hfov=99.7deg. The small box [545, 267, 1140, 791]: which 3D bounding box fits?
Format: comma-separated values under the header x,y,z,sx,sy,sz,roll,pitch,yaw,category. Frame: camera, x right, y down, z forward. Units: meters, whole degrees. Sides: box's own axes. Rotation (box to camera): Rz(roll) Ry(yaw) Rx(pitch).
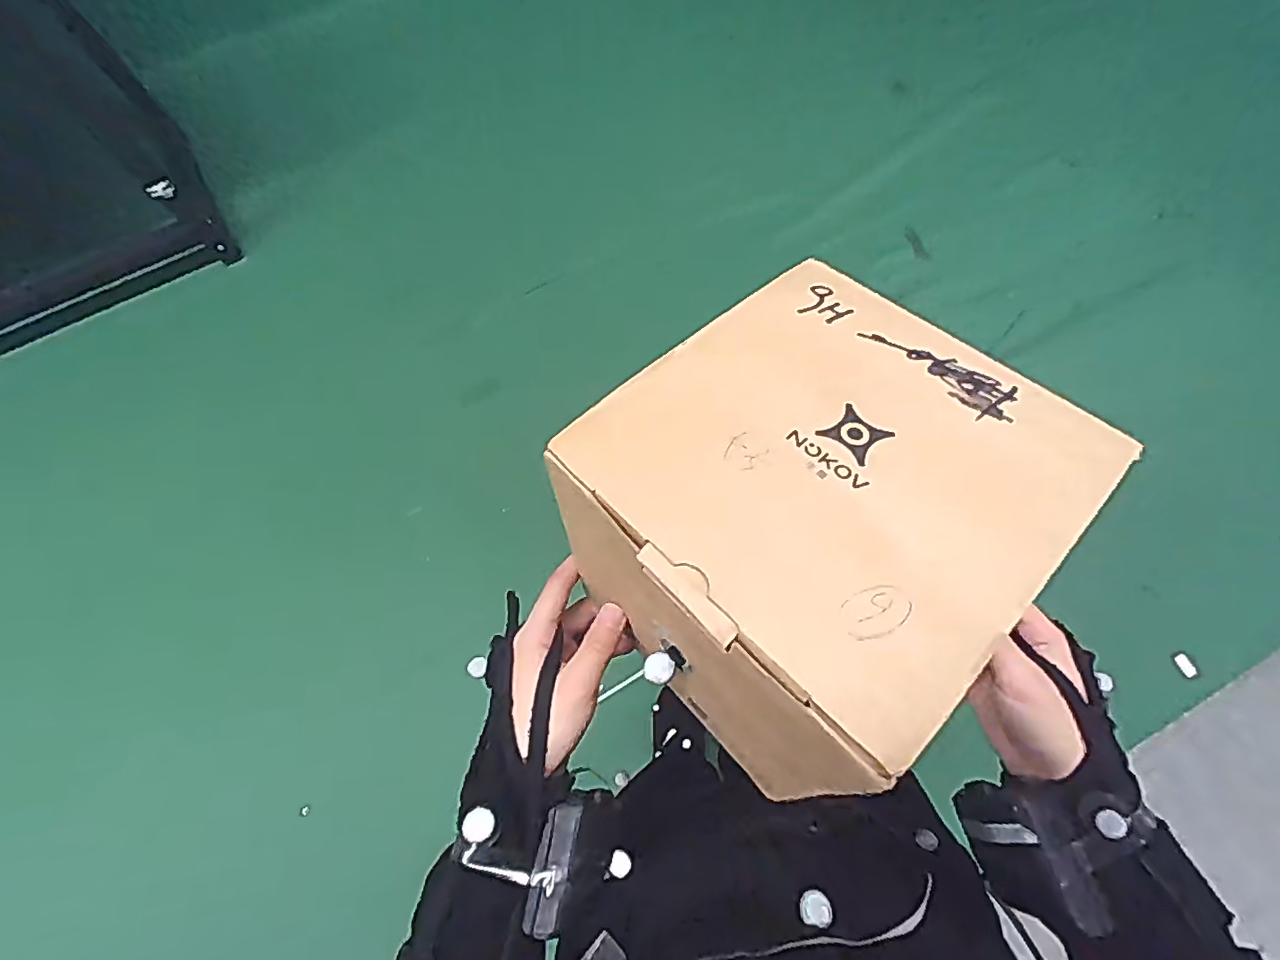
x,y,z,sx,sy,sz,roll,pitch,yaw,category
0.080,0.033,0.282,0.179,0.176,0.168,-38,65,-19,small box
